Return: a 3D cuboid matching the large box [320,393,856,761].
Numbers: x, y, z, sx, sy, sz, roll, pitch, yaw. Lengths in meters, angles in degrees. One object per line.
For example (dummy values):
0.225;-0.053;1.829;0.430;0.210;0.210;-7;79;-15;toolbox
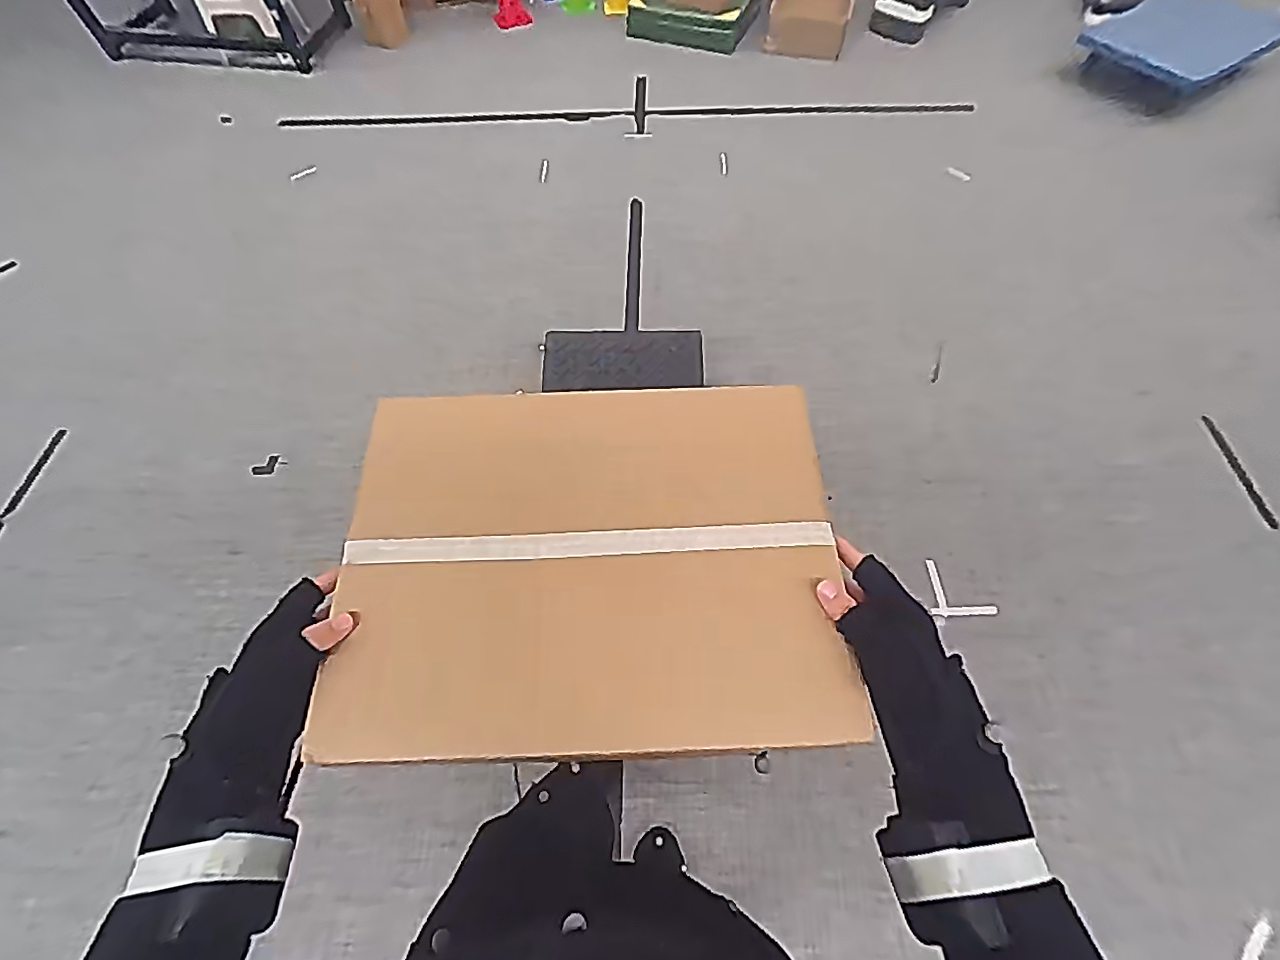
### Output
-0.041;0.124;0.595;0.408;0.320;0.320;-1;62;-1;large box
